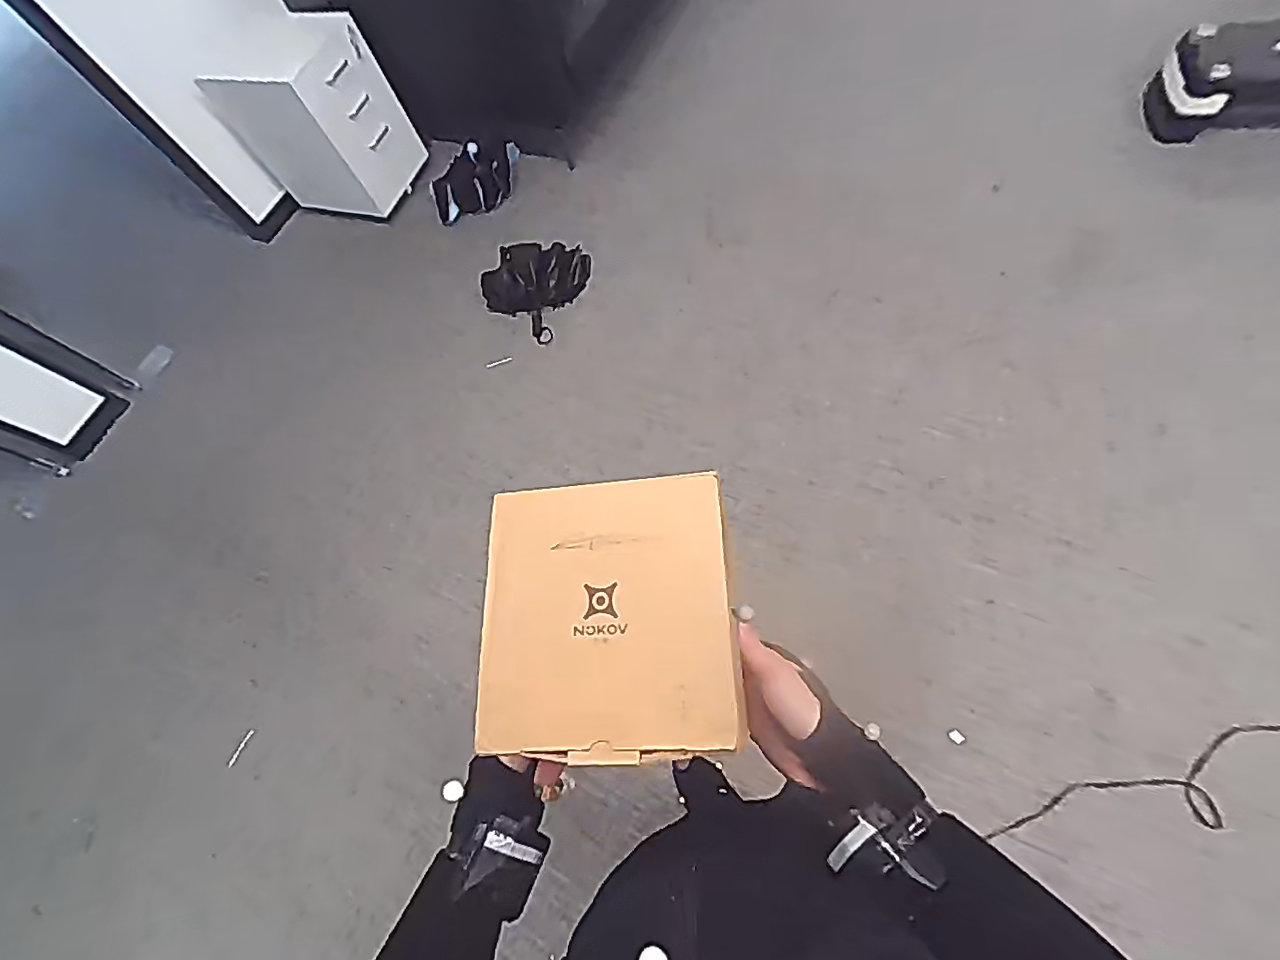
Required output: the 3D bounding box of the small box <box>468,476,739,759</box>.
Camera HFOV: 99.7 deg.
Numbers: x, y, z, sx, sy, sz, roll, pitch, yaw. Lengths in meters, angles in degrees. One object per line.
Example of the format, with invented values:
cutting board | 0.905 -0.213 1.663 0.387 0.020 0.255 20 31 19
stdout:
small box | -0.014 0.114 0.427 0.168 0.176 0.179 -6 67 10
